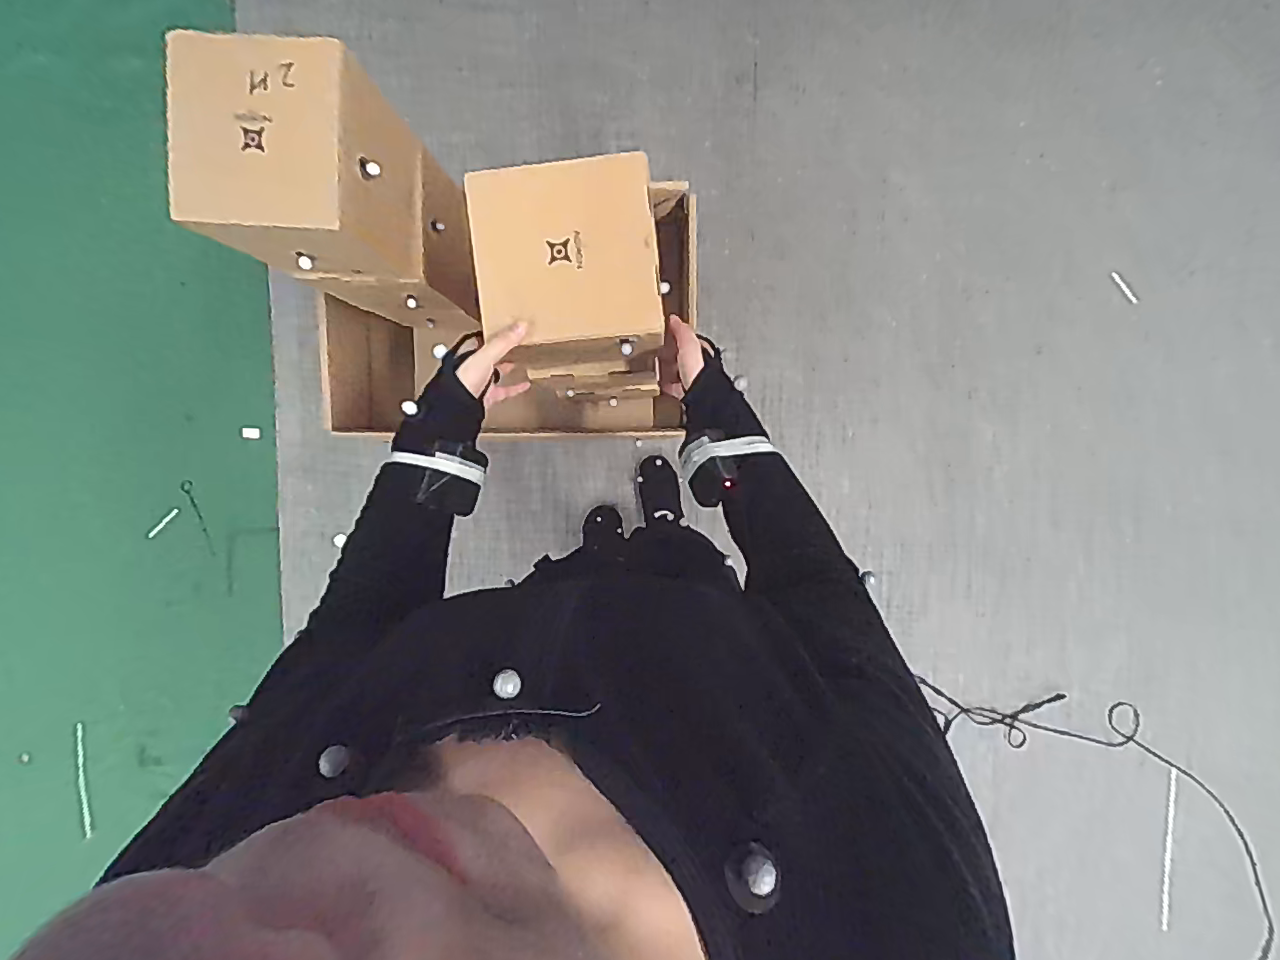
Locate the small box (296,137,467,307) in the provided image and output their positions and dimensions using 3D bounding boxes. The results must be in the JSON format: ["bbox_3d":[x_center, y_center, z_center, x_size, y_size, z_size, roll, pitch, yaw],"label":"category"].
[{"bbox_3d":[-0.349,-0.348,0.756,0.168,0.176,0.179,3,94,0],"label":"small box"}]

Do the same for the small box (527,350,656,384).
[{"bbox_3d":[-0.062,-0.227,0.756,0.168,0.176,0.179,-2,95,2],"label":"small box"}]

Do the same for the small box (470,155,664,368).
[{"bbox_3d":[-0.067,-0.222,0.594,0.179,0.176,0.168,-6,94,1],"label":"small box"}]

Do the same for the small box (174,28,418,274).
[{"bbox_3d":[-0.359,-0.338,0.593,0.168,0.176,0.179,4,95,-1],"label":"small box"}]
